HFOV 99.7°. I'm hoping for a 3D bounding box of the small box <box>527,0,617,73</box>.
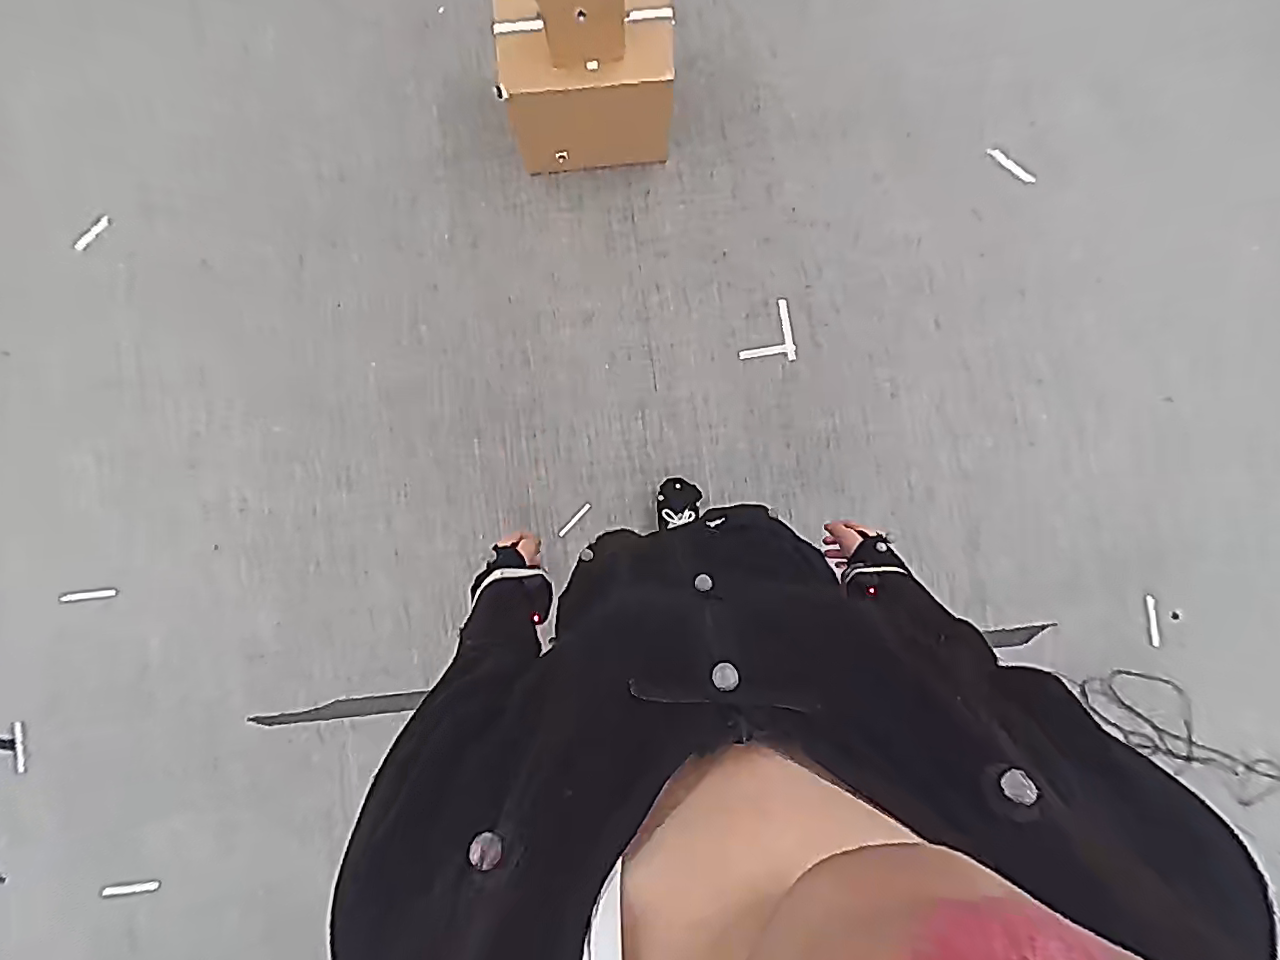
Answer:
[{"bbox_3d":[-0.150,-1.024,1.168,0.179,0.176,0.168,-9,89,-1],"label":"small box"}]
